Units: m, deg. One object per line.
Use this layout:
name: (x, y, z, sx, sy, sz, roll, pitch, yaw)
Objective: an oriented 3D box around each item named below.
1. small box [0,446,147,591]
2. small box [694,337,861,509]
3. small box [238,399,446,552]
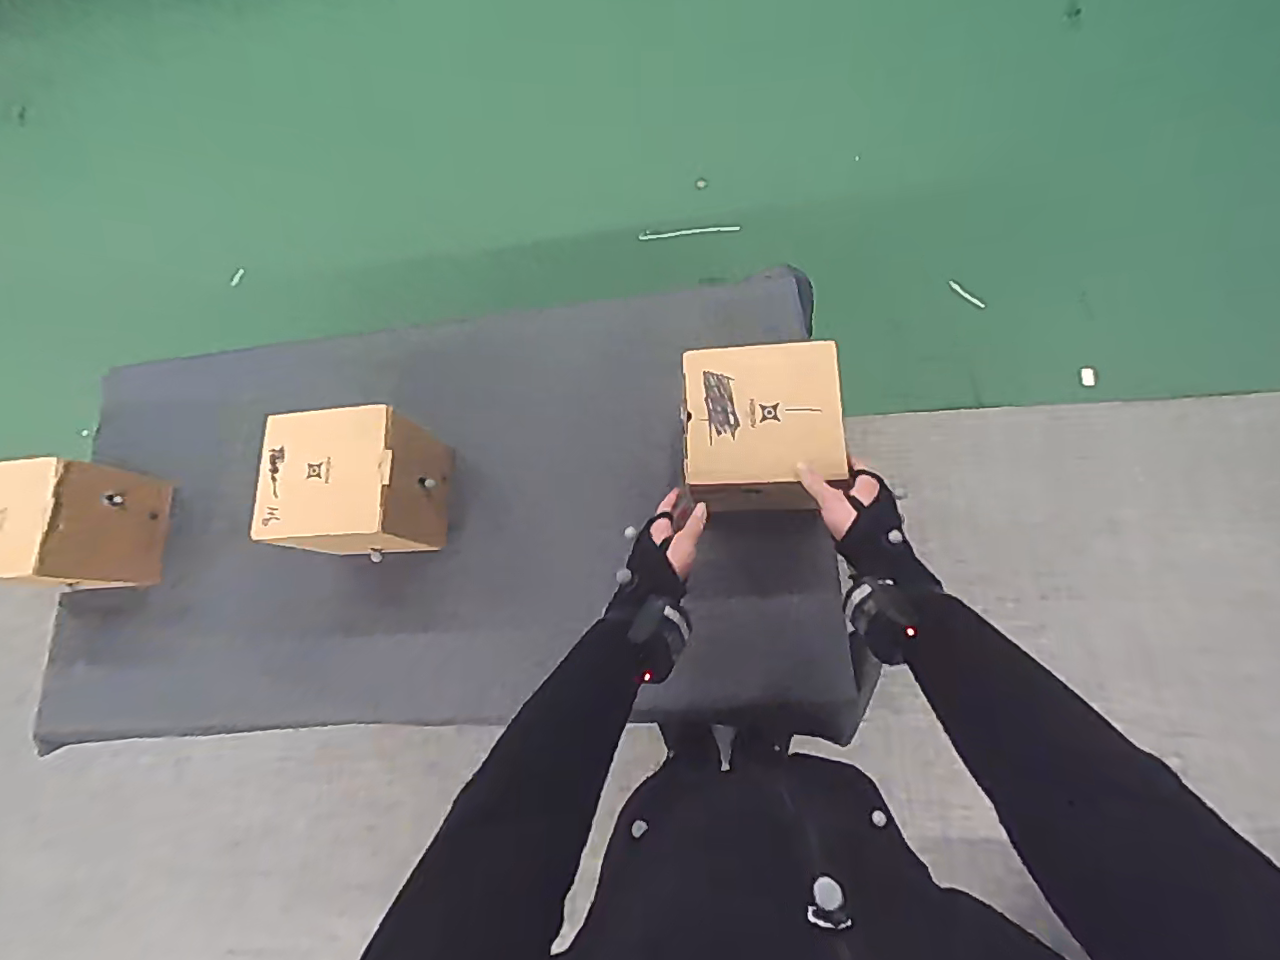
small box: (-0.853, 0.062, 0.755, 0.179, 0.176, 0.168, -5, 73, 6)
small box: (0.158, -0.060, 0.675, 0.179, 0.176, 0.168, -1, 75, 5)
small box: (-0.376, 0.002, 0.719, 0.179, 0.176, 0.168, -3, 74, 5)
